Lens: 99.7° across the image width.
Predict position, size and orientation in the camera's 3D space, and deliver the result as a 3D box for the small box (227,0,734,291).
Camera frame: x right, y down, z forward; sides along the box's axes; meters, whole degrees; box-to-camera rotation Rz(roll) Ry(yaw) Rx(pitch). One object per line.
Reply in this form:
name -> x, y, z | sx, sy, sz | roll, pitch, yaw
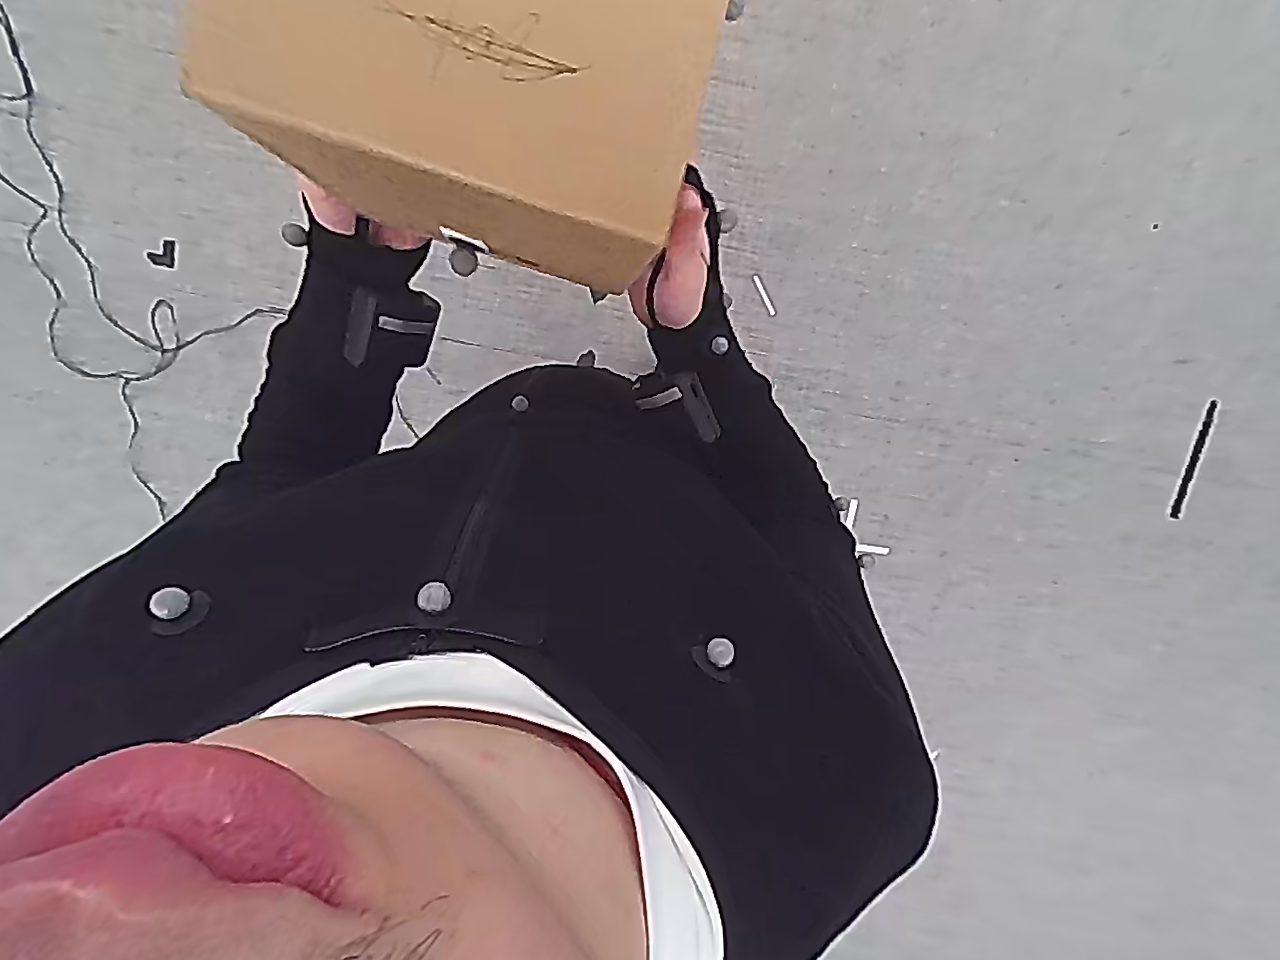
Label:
small box -> -0.056, -0.208, 0.264 | 0.168, 0.176, 0.179 | 11, 100, -10
